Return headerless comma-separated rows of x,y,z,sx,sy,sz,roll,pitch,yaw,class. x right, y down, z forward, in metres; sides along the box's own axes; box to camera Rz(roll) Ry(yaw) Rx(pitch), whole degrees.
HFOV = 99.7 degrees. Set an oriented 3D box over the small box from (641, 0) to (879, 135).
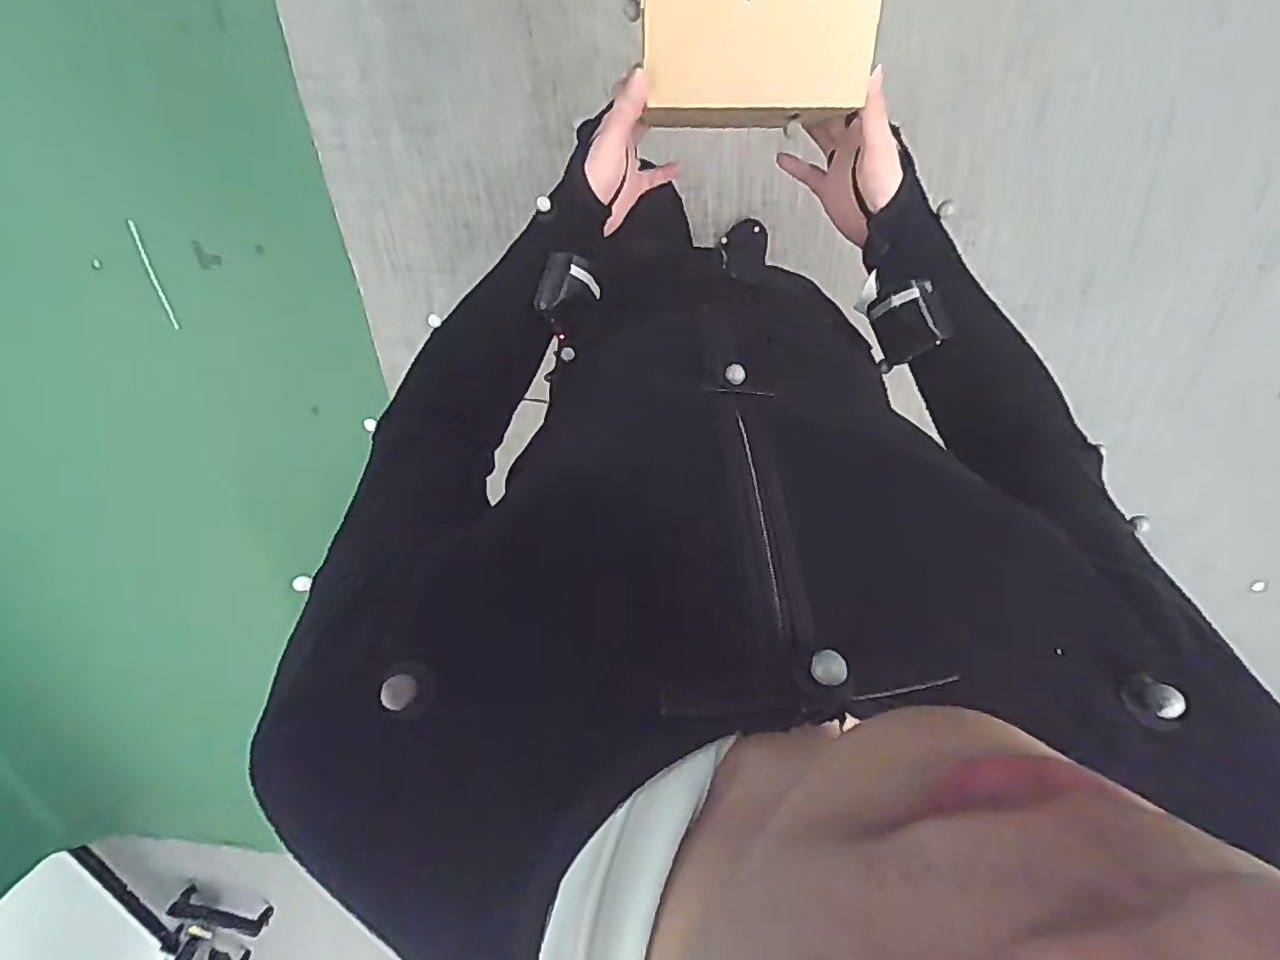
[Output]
0.091,-0.400,0.459,0.179,0.176,0.168,1,118,2,small box
